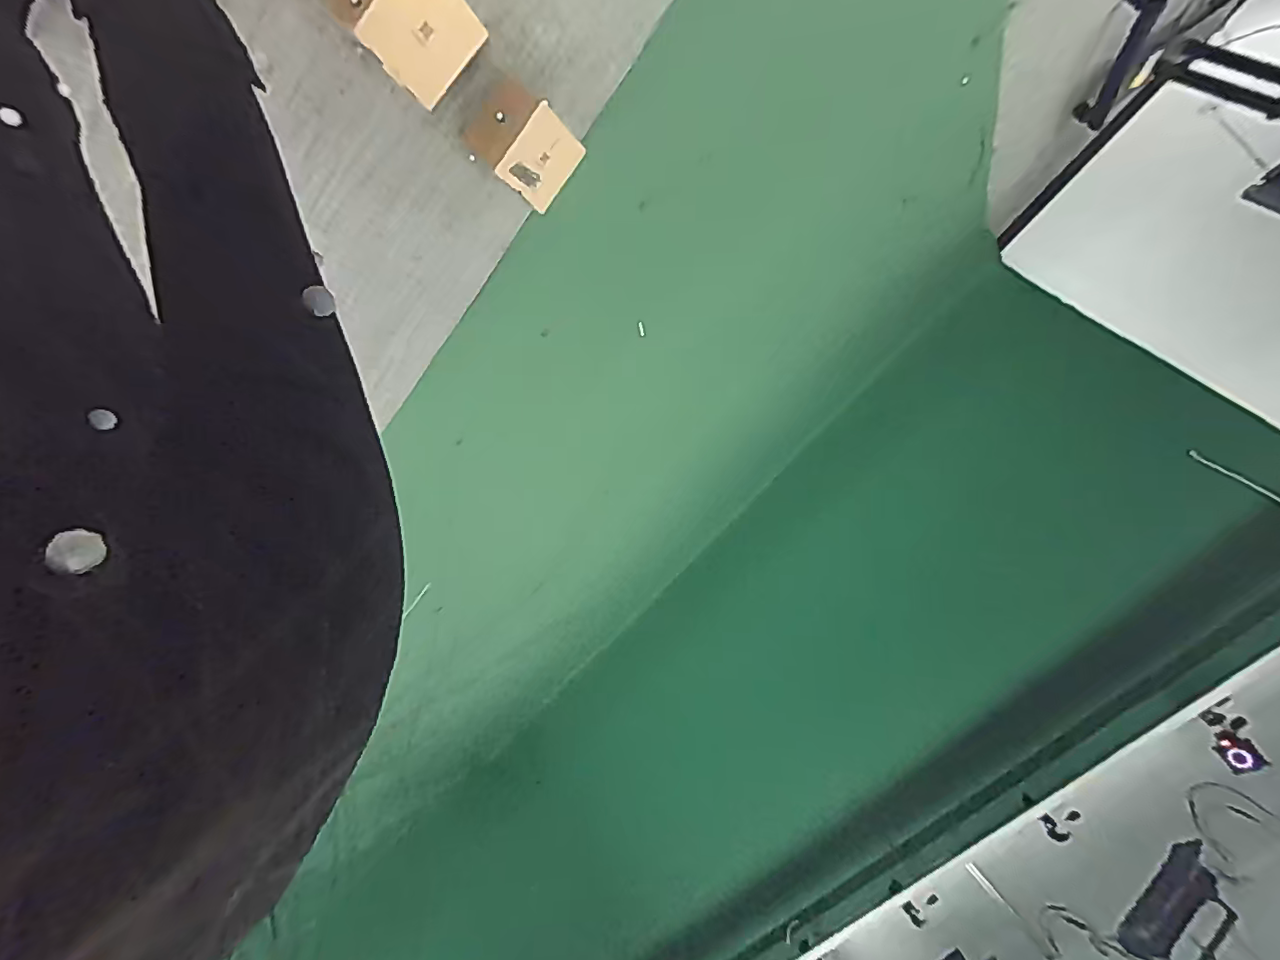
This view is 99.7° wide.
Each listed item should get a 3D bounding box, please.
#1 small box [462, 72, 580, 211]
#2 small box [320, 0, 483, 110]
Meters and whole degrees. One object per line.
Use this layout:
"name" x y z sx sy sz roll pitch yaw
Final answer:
"small box" -0.276 -0.764 1.226 0.179 0.176 0.168 -48 154 14
"small box" -0.420 -0.813 0.946 0.179 0.176 0.168 -45 155 11
